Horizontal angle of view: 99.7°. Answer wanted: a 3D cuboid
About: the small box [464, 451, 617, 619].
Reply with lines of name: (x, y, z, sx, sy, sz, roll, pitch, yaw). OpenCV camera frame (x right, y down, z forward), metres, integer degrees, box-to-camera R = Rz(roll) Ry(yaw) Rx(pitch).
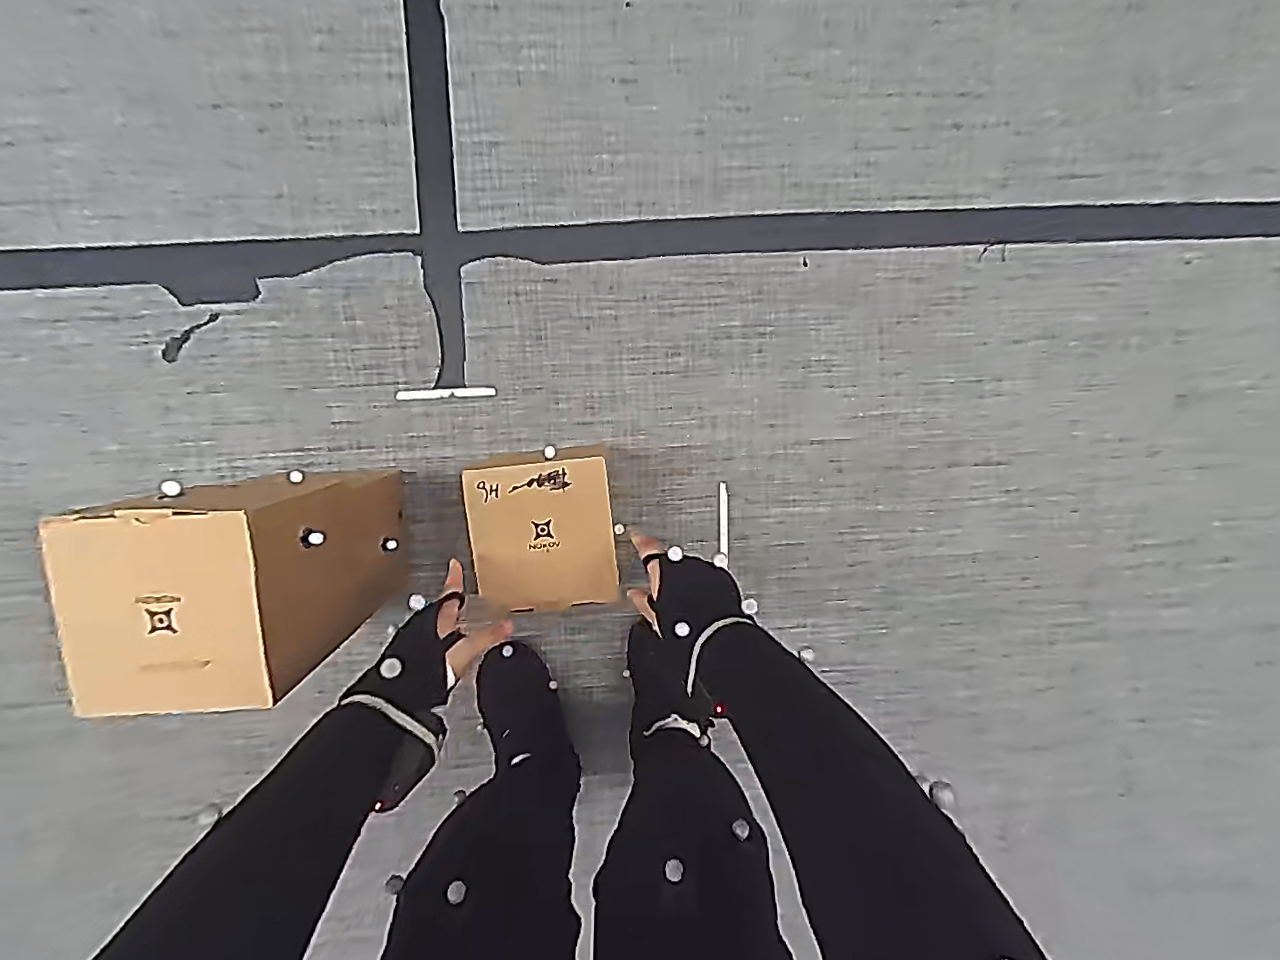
small box: (-0.118, 0.063, 0.715, 0.168, 0.176, 0.179, -6, 99, -2)

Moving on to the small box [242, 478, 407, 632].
small box: (-0.415, 0.089, 0.699, 0.179, 0.176, 0.168, -1, 98, -3)

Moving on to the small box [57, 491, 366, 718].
small box: (-0.398, 0.107, 0.538, 0.168, 0.176, 0.179, -2, 99, -2)
